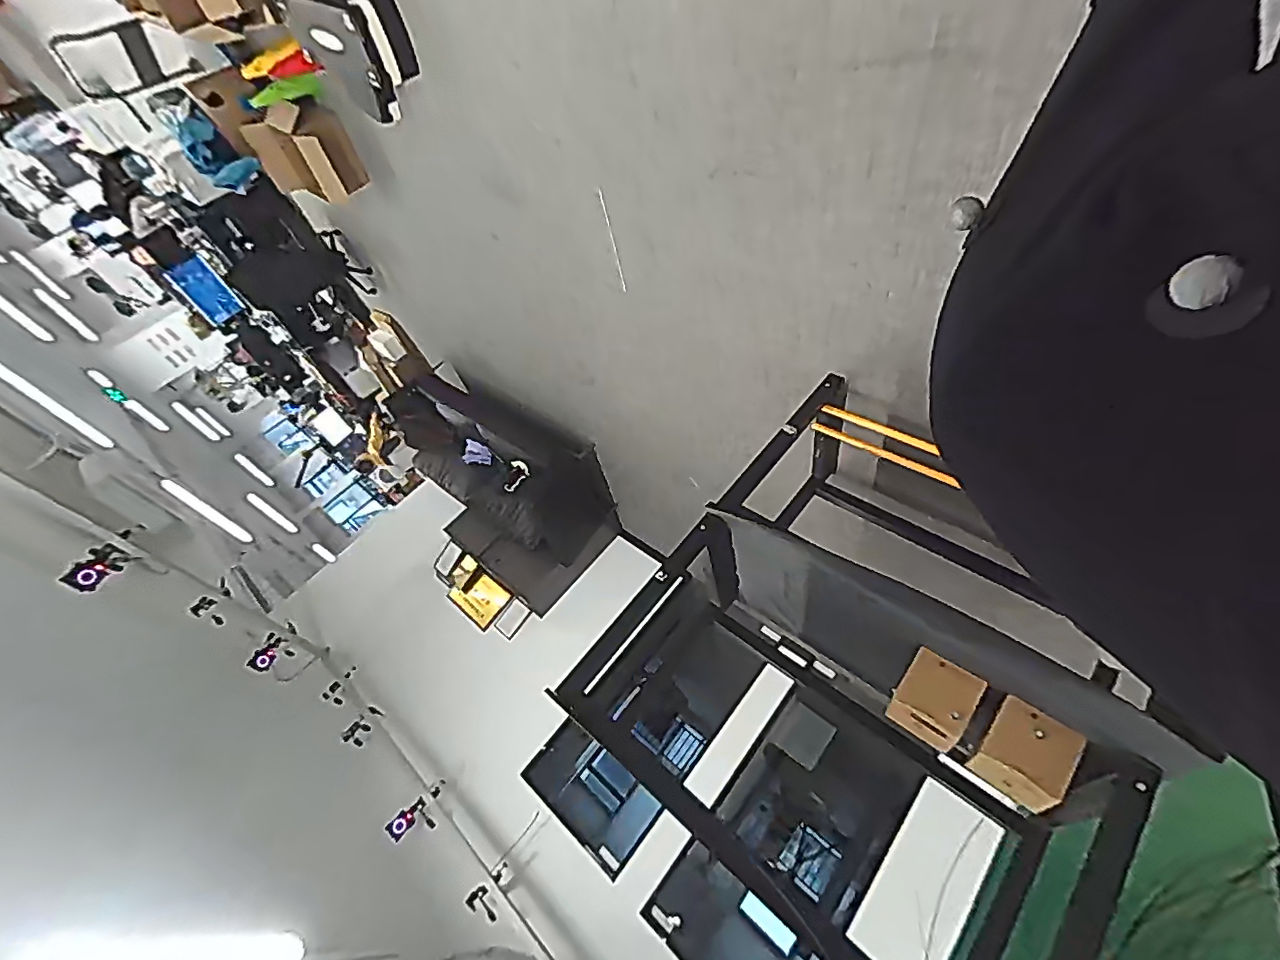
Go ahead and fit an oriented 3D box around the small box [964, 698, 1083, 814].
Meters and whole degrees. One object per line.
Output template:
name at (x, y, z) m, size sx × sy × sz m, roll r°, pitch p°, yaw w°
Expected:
small box at (0.923, 0.664, 1.306) m, size 0.168 × 0.176 × 0.179 m, roll 29°, pitch 154°, yaw 33°
